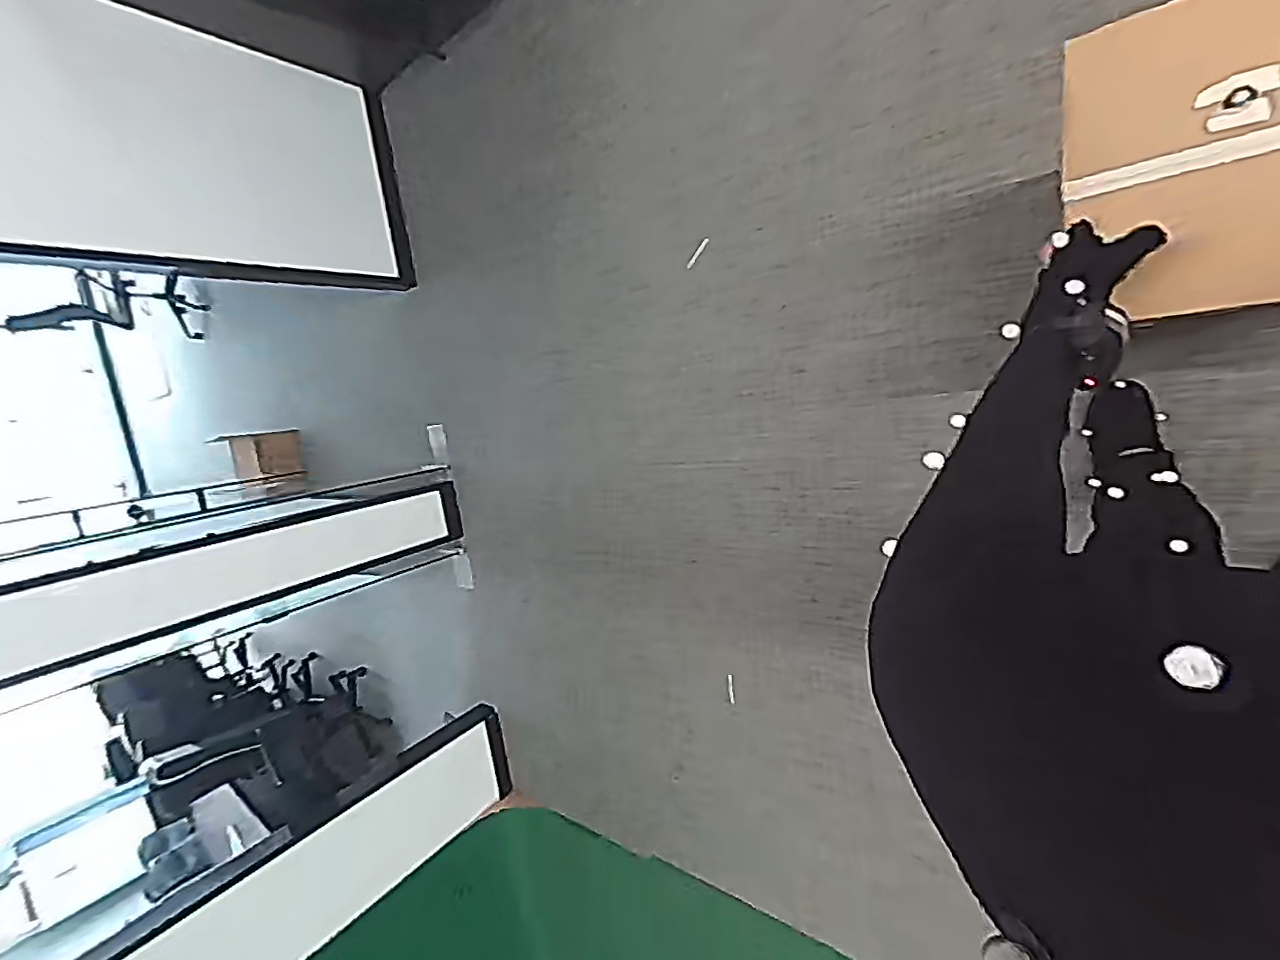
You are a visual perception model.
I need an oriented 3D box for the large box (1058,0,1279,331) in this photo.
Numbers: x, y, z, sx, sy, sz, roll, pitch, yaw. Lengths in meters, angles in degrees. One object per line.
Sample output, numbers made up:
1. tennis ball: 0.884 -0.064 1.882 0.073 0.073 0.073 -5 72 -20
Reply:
1. large box: 0.737 -0.372 0.614 0.408 0.320 0.320 1 106 39
